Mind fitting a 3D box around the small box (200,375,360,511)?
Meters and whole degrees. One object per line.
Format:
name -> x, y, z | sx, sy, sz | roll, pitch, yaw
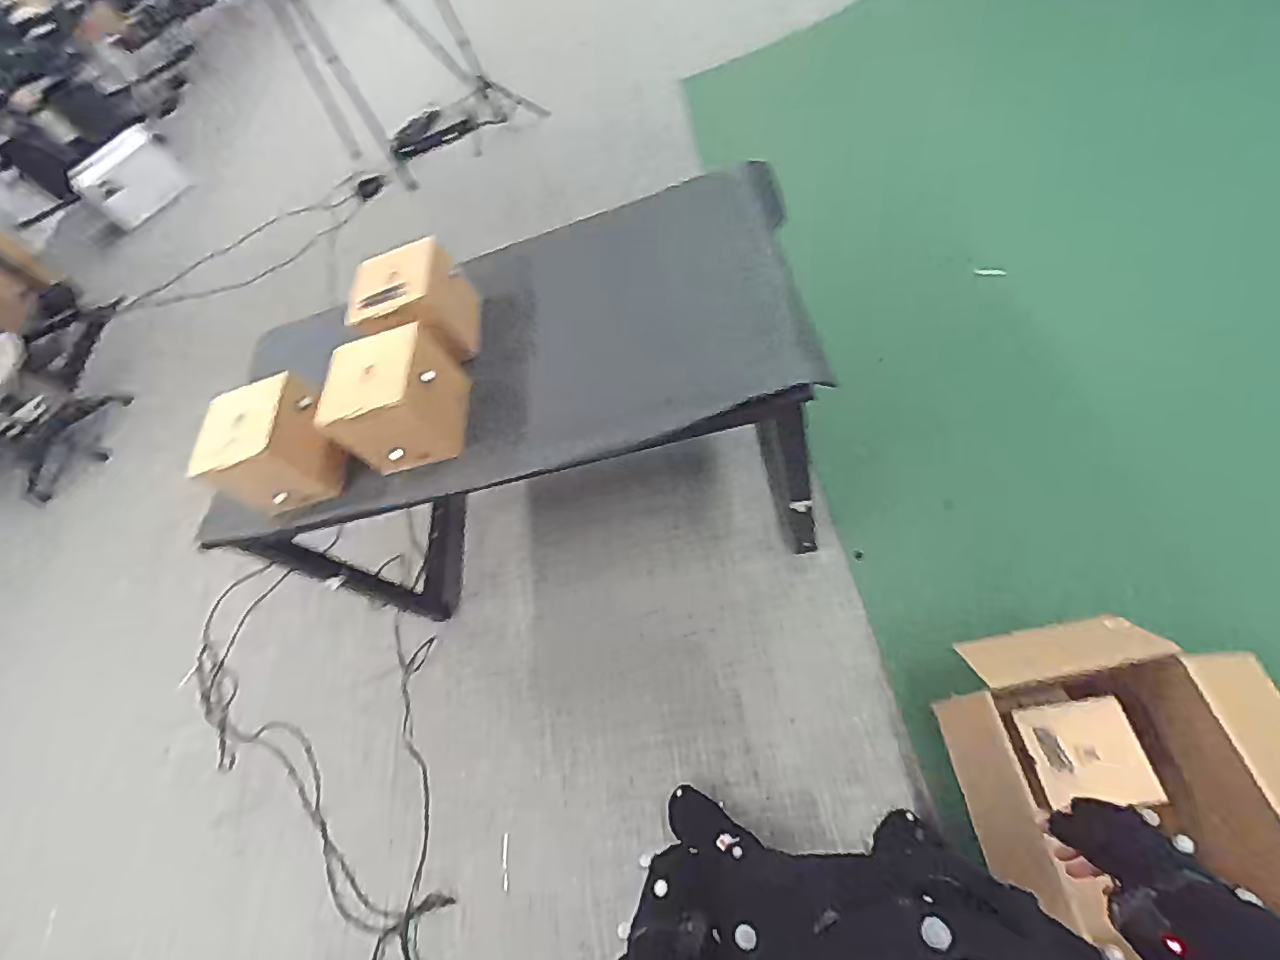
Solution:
small box -> -0.663, -0.064, 1.021 | 0.168, 0.176, 0.179 | -14, 60, 13
